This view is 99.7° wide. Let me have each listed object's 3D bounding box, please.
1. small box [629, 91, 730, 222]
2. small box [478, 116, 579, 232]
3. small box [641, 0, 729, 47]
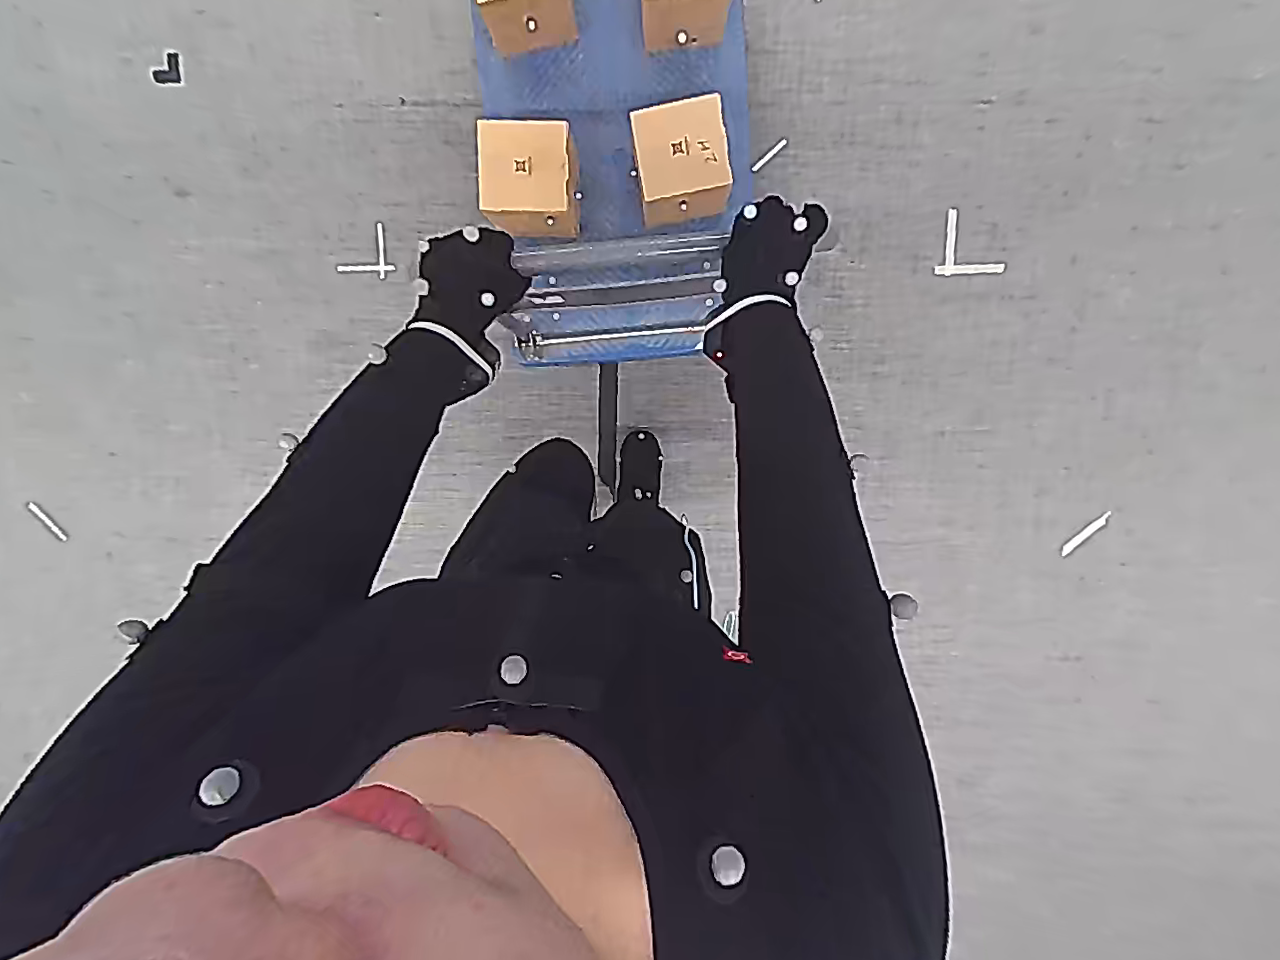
[{"bbox_3d":[0.081,-0.654,1.114,0.179,0.176,0.168,-10,99,3],"label":"small box"},{"bbox_3d":[-0.225,-0.627,1.127,0.179,0.176,0.168,1,98,0],"label":"small box"},{"bbox_3d":[0.083,-1.002,1.059,0.168,0.176,0.179,-5,100,2],"label":"small box"}]
